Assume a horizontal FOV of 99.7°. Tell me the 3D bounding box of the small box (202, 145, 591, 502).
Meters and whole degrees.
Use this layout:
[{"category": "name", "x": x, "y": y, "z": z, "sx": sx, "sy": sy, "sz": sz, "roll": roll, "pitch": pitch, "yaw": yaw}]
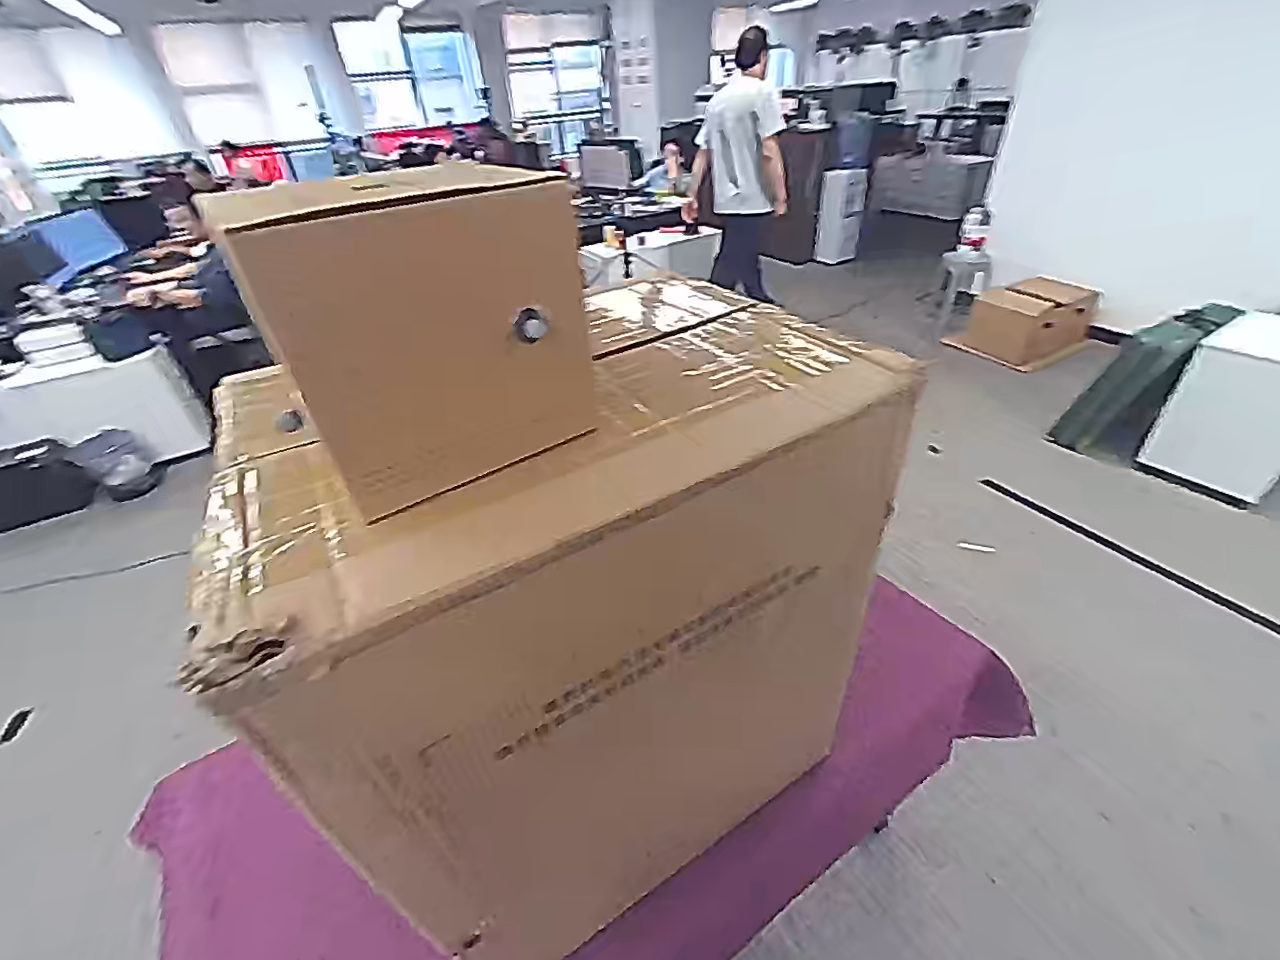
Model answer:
[{"category": "small box", "x": -0.146, "y": -0.115, "z": 0.363, "sx": 0.179, "sy": 0.176, "sz": 0.168, "roll": -27, "pitch": 41, "yaw": -27}]
